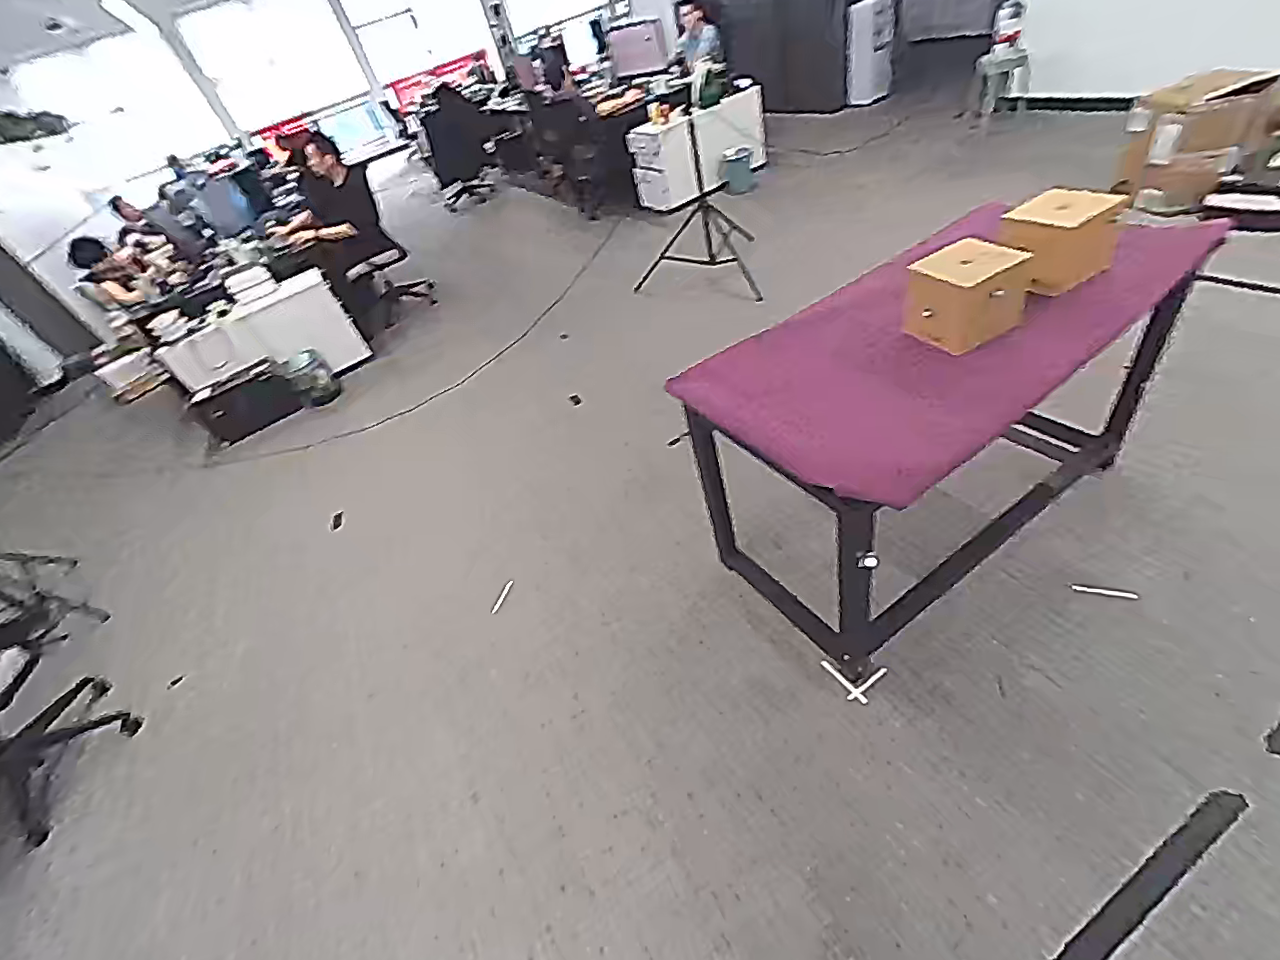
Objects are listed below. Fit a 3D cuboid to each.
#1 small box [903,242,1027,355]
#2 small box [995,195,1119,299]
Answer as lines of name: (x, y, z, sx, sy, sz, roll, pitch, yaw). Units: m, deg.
small box: (0.725, -0.409, 1.228, 0.179, 0.176, 0.168, -27, 42, -9)
small box: (0.979, -0.556, 1.291, 0.179, 0.176, 0.168, -30, 41, -12)
